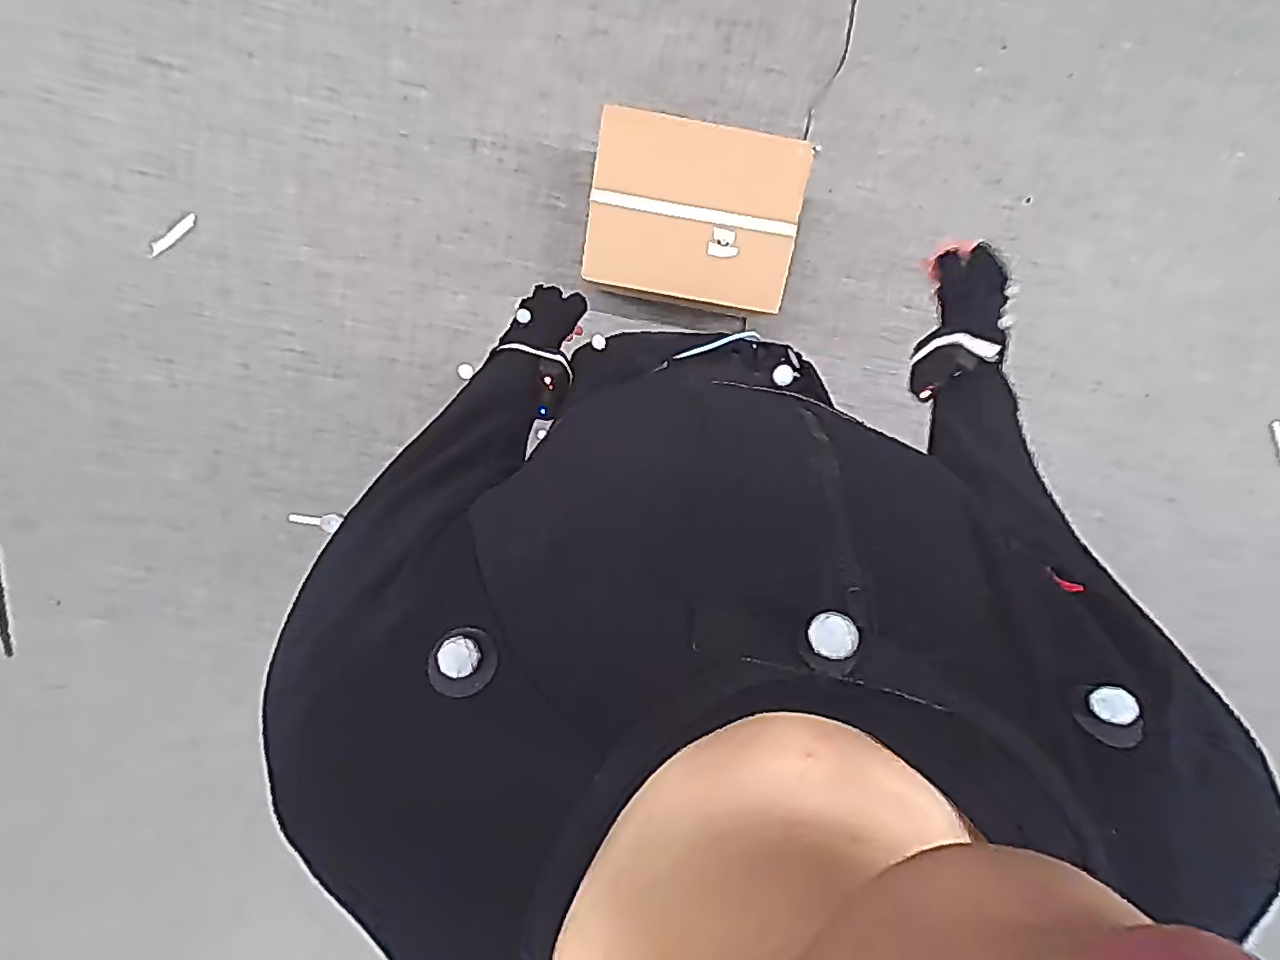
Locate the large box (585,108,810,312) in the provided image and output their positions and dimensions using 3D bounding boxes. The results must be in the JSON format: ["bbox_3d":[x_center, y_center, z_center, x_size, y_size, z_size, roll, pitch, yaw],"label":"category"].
[{"bbox_3d":[0.105,-0.565,1.203,0.408,0.320,0.320,9,106,-2],"label":"large box"}]
